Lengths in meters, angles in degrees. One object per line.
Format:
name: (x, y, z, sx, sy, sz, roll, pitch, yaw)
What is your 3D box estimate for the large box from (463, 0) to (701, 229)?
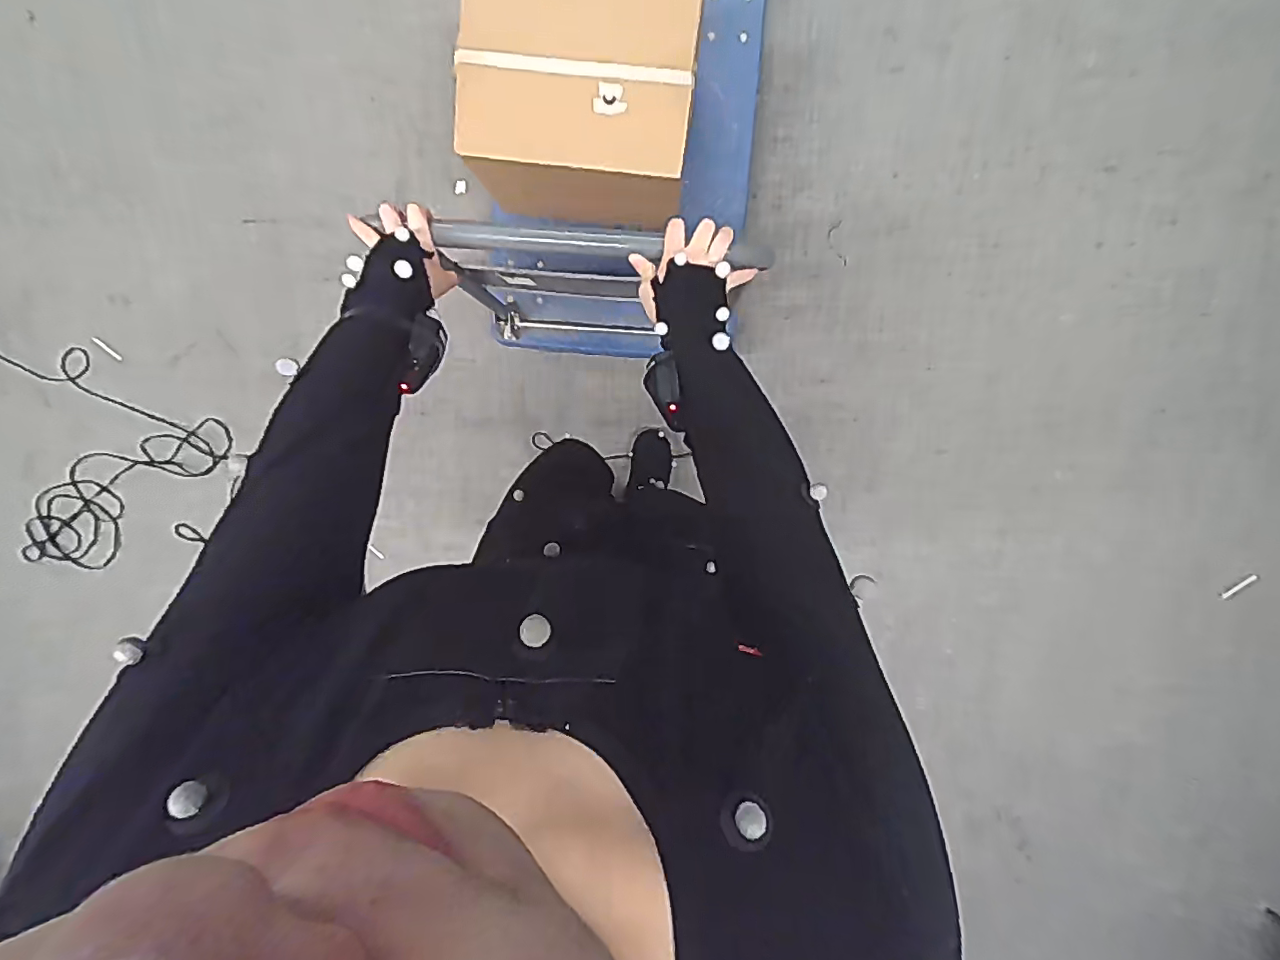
large box: (-0.105, -0.729, 1.090, 0.408, 0.320, 0.320, 7, 98, 1)
